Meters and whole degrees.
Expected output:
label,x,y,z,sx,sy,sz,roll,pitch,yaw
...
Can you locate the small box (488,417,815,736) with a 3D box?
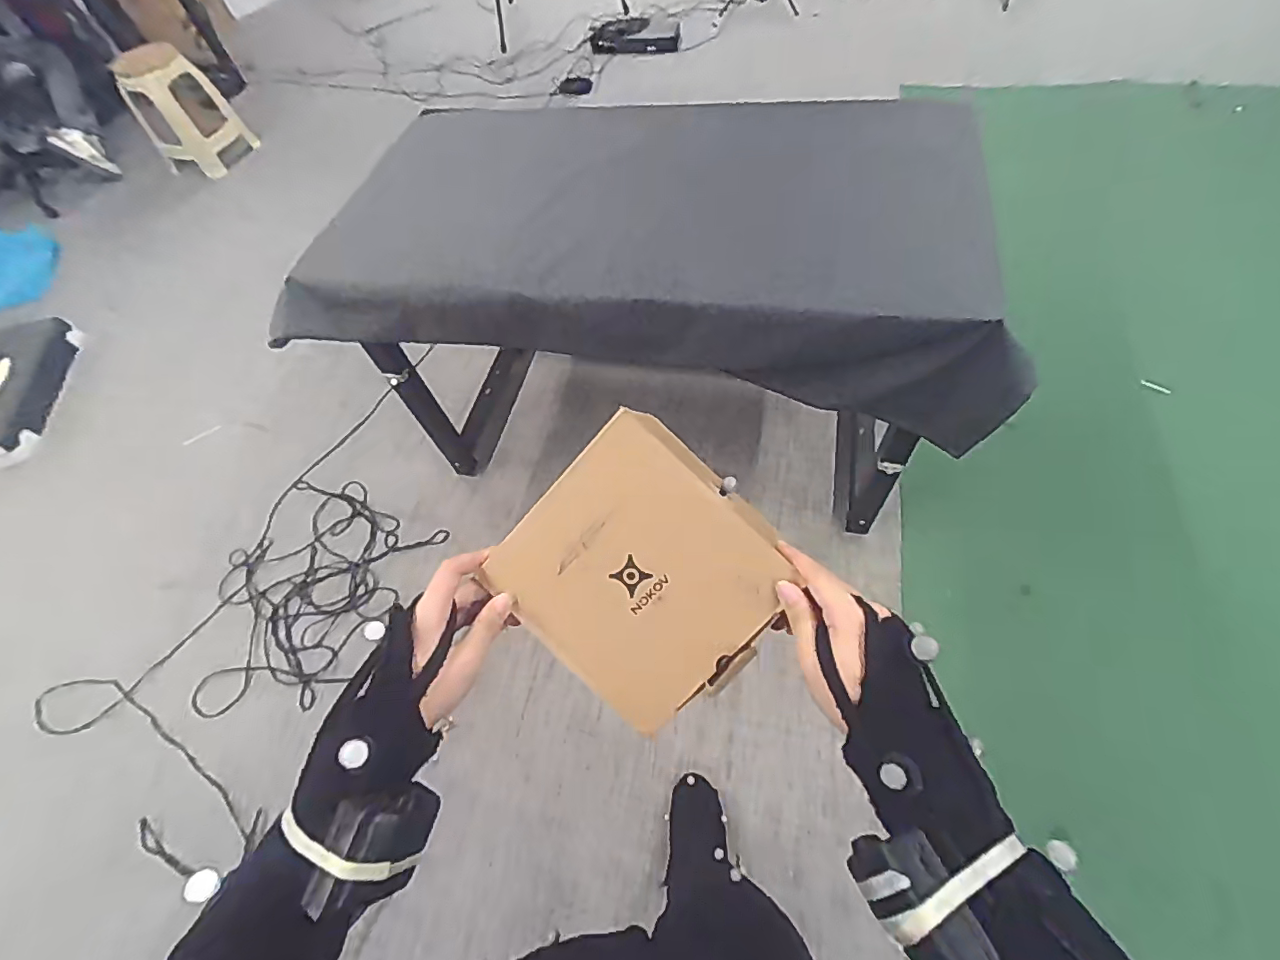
label,x,y,z,sx,sy,sz,roll,pitch,yaw
small box,0.015,0.063,0.458,0.179,0.176,0.168,43,99,3
